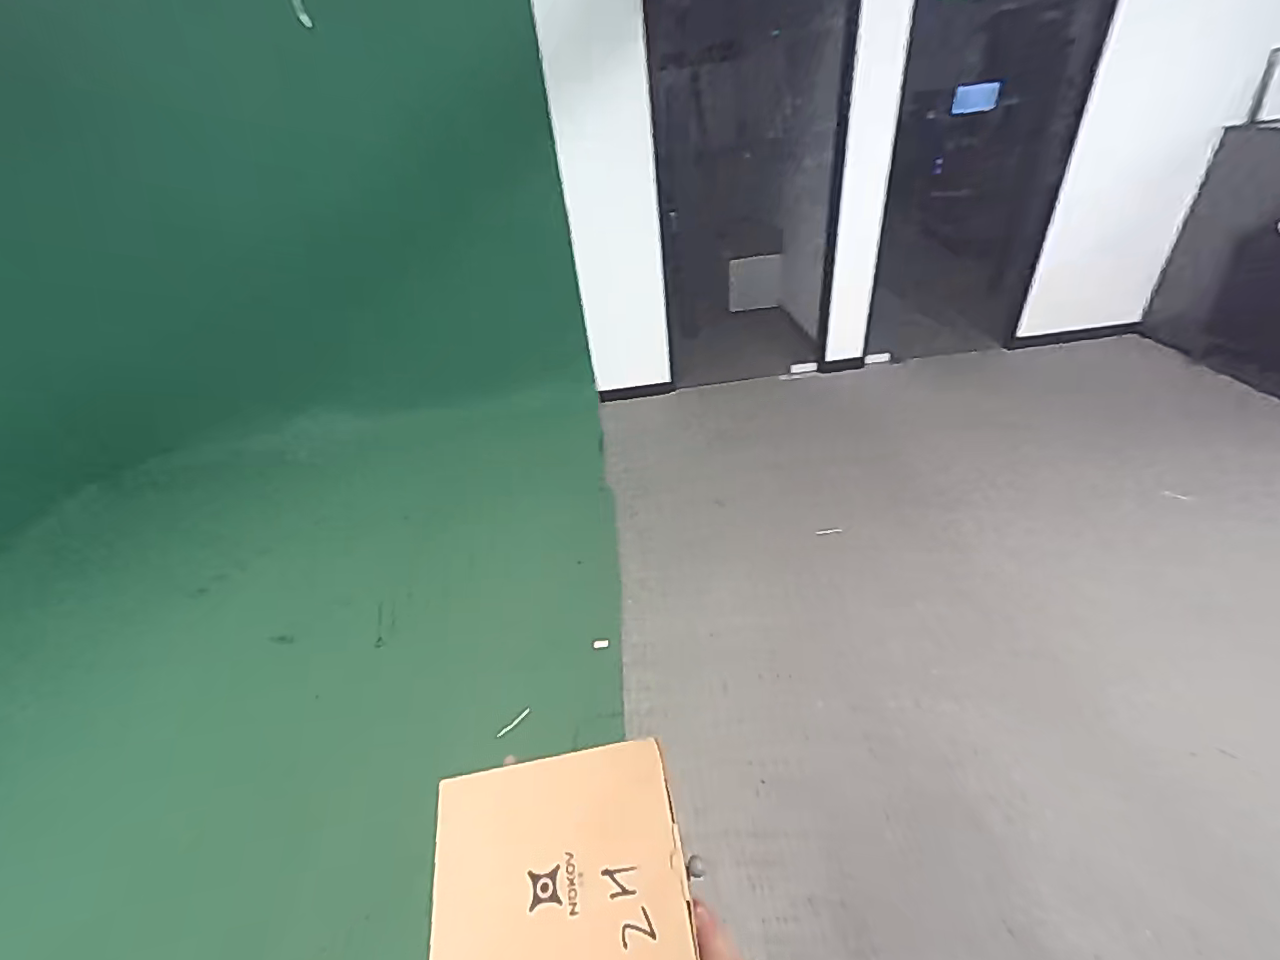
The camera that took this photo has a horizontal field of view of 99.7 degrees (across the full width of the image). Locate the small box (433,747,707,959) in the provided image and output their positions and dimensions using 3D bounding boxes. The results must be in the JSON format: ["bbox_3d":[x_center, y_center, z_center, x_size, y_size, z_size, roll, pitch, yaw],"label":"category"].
[{"bbox_3d":[-0.045,0.331,0.427,0.179,0.176,0.168,-10,53,-2],"label":"small box"}]
